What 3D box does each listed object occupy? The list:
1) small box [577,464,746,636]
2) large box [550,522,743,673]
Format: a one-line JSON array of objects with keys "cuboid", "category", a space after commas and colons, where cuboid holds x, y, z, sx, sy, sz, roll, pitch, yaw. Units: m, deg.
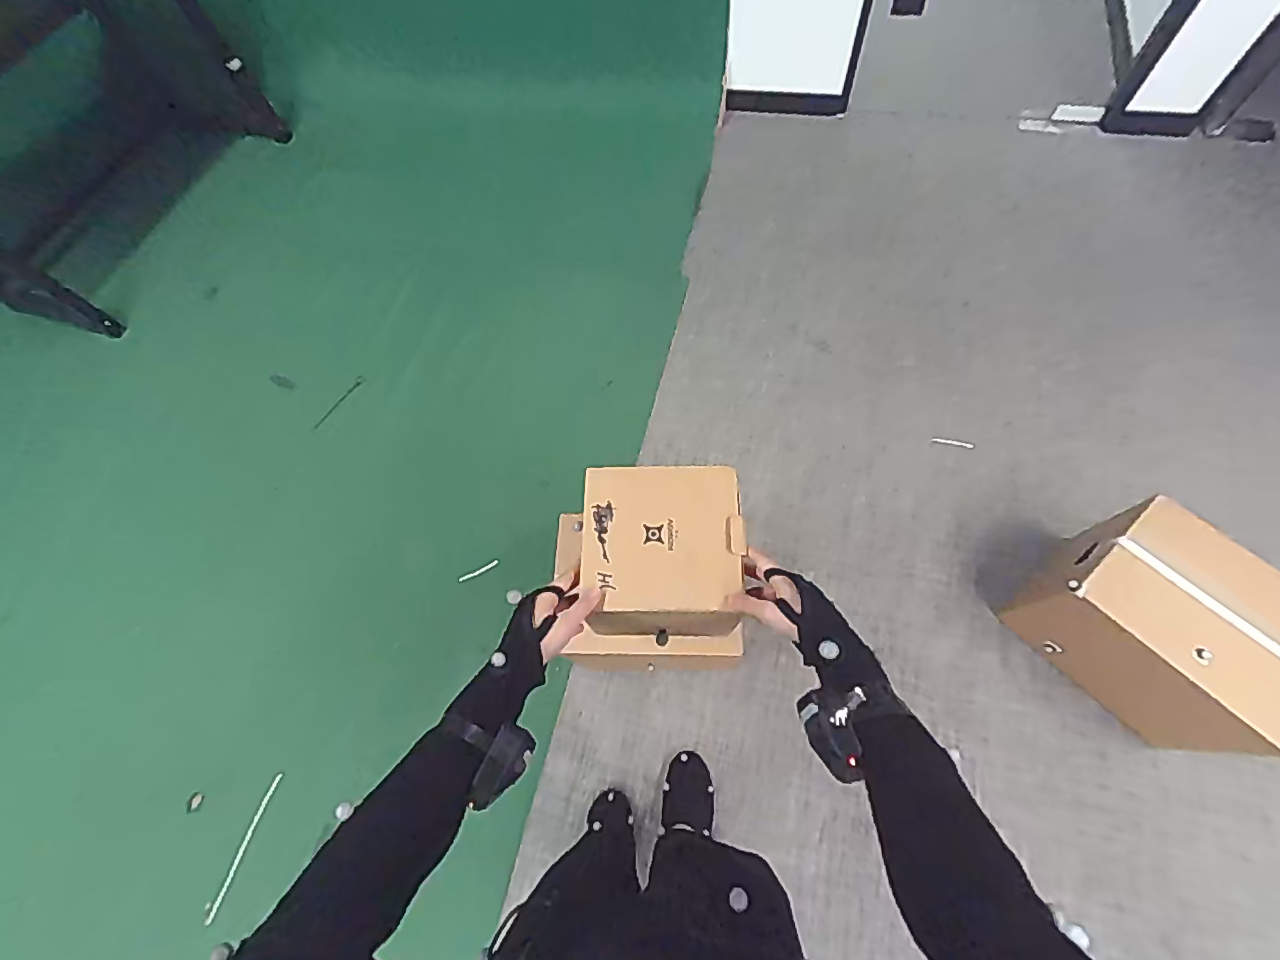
[{"cuboid": [0.025, 0.091, 0.656, 0.179, 0.176, 0.168, 0, 64, 2], "category": "small box"}, {"cuboid": [0.028, 0.289, 1.298, 0.408, 0.320, 0.320, -2, 64, 7], "category": "large box"}]
